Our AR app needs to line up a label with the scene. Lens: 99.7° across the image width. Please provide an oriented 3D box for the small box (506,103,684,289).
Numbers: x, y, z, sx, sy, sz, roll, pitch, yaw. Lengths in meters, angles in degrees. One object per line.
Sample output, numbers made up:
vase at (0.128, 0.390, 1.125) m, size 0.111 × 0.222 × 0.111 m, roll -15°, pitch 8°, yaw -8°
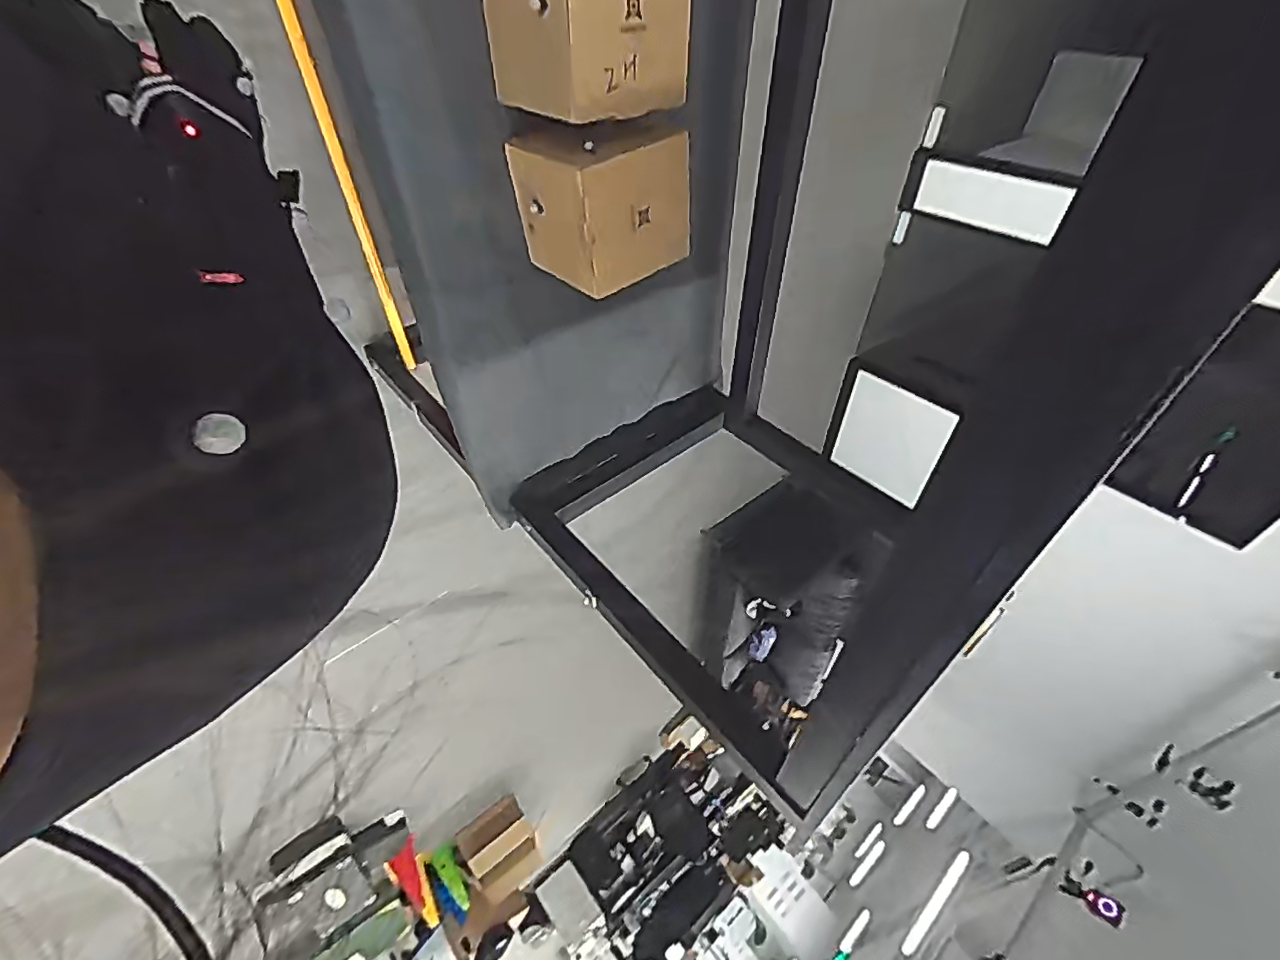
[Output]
small box at (-0.057, -0.403, 0.758) m, size 0.179 × 0.176 × 0.168 m, roll -34°, pitch 144°, yaw -22°
